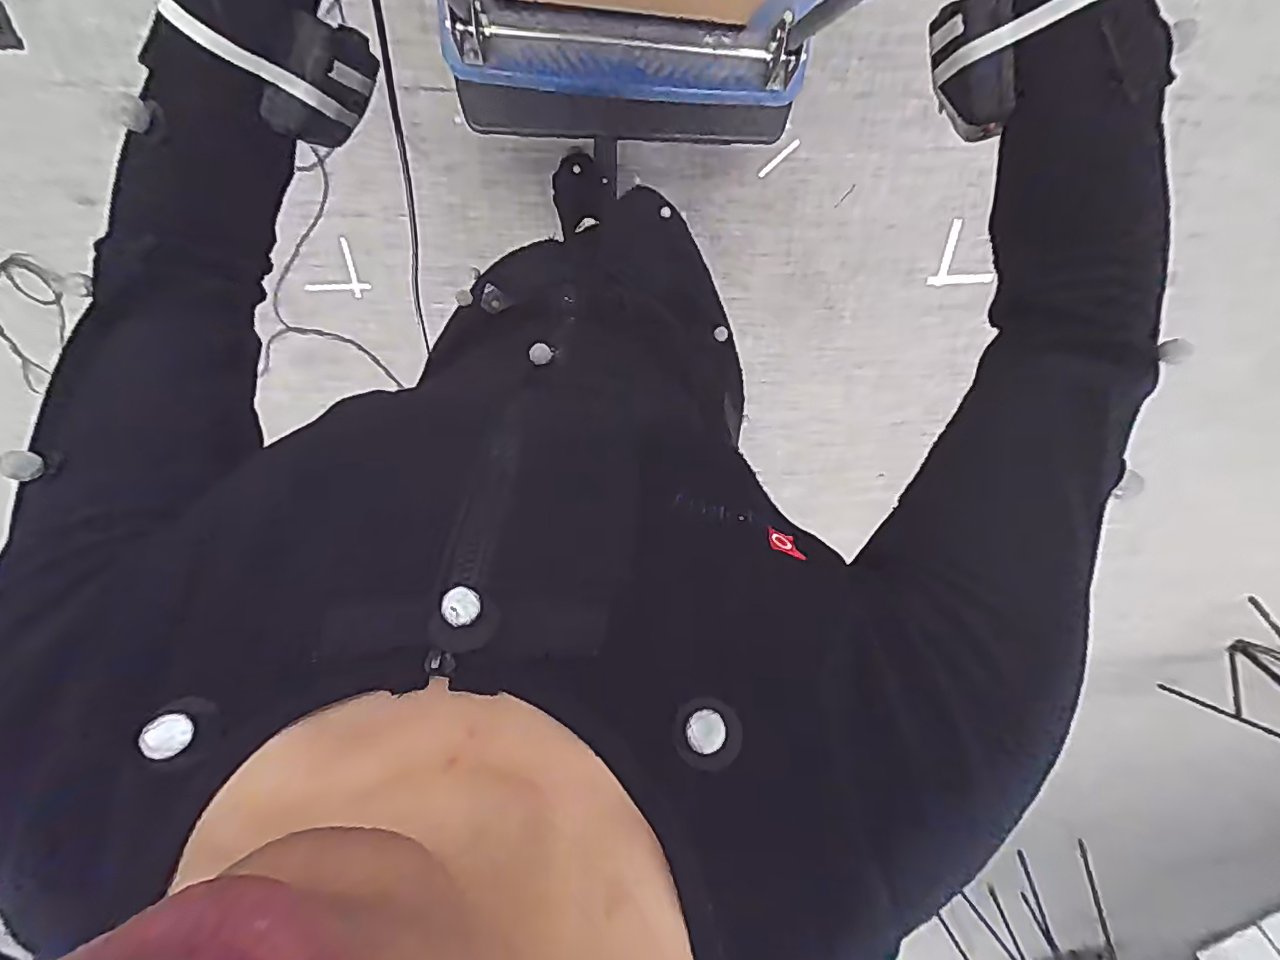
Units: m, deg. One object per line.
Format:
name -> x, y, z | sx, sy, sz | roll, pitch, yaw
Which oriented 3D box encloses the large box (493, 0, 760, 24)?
large box -> -0.009, -0.801, 0.643 | 0.408, 0.320, 0.320 | 0, 114, -7
